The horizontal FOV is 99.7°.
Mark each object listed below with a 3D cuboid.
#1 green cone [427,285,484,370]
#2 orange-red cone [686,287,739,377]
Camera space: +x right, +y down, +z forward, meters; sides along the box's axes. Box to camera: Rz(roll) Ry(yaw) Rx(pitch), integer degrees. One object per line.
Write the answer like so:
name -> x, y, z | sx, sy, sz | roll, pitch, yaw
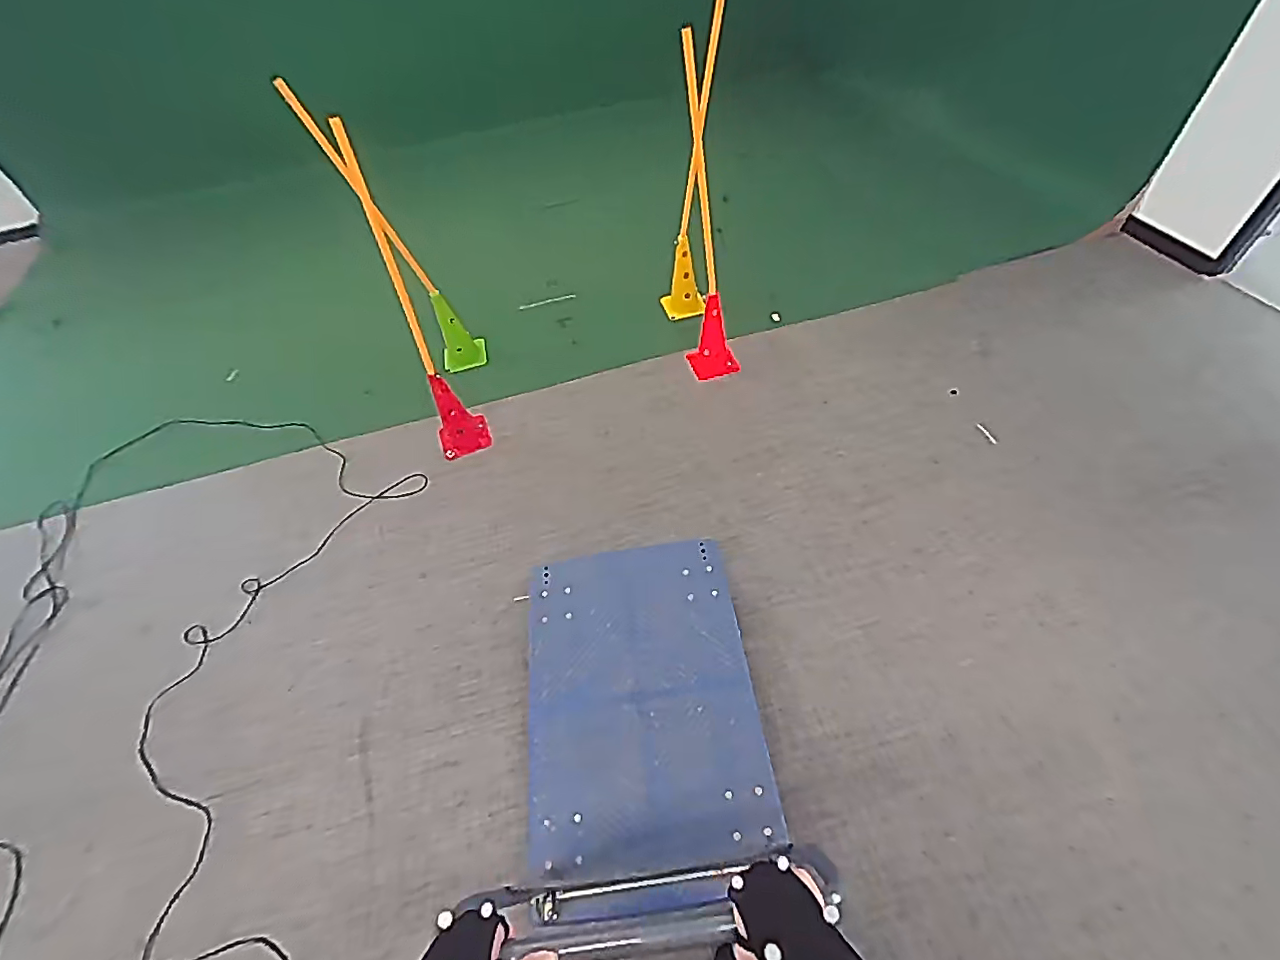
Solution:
green cone -> -0.869, -0.716, 2.458 | 0.200, 0.368, 0.202 | -16, 51, -4
orange-red cone -> 0.300, -0.636, 2.253 | 0.198, 0.360, 0.199 | -15, 50, -5
